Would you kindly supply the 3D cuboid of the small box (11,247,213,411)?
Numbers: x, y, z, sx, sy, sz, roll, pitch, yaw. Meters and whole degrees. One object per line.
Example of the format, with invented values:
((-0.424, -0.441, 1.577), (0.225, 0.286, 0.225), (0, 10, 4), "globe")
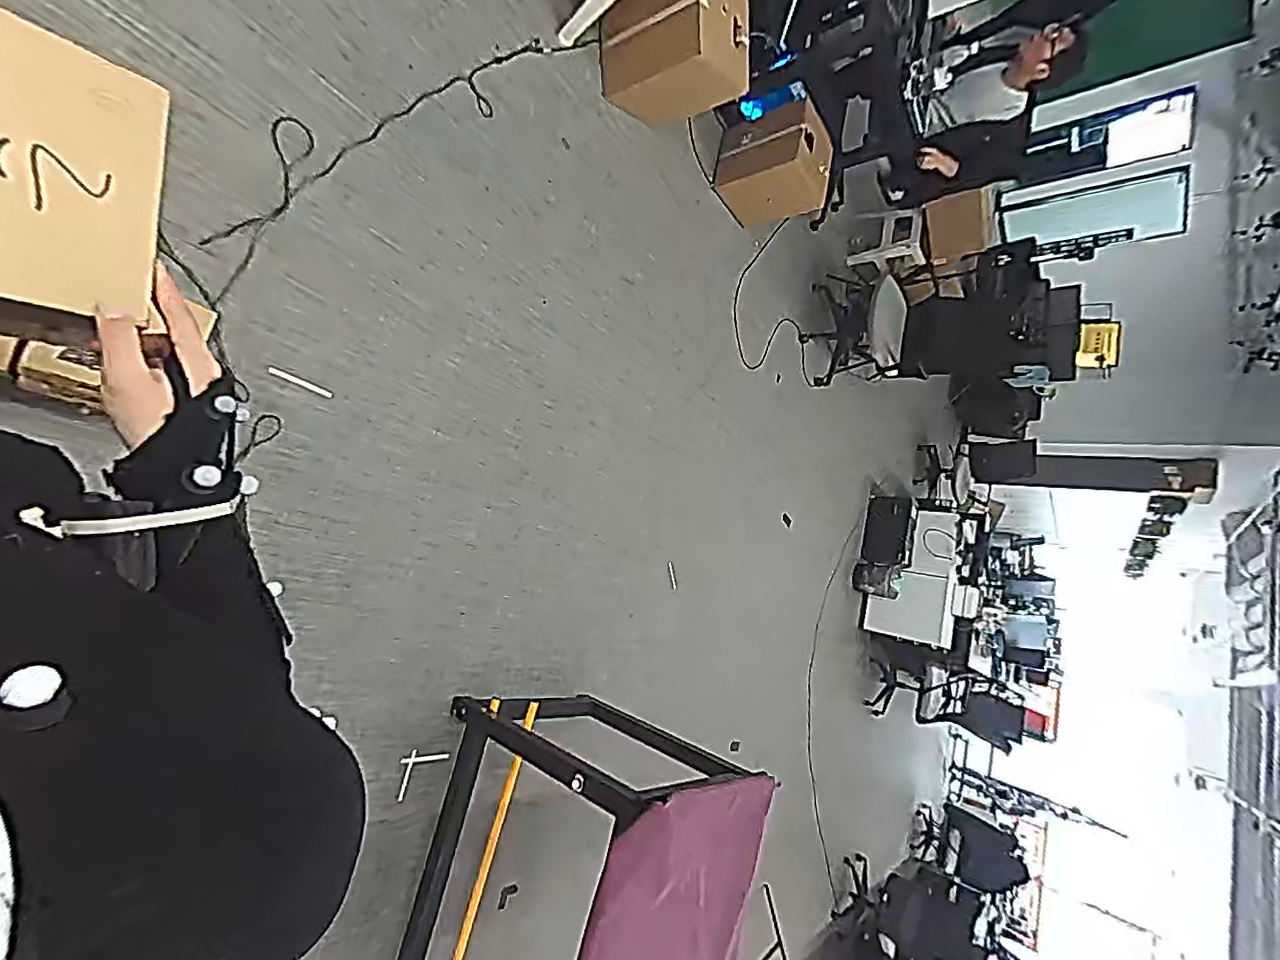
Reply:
((-0.800, -0.215, 0.824), (0.168, 0.176, 0.179), (28, 72, -48), "small box")
